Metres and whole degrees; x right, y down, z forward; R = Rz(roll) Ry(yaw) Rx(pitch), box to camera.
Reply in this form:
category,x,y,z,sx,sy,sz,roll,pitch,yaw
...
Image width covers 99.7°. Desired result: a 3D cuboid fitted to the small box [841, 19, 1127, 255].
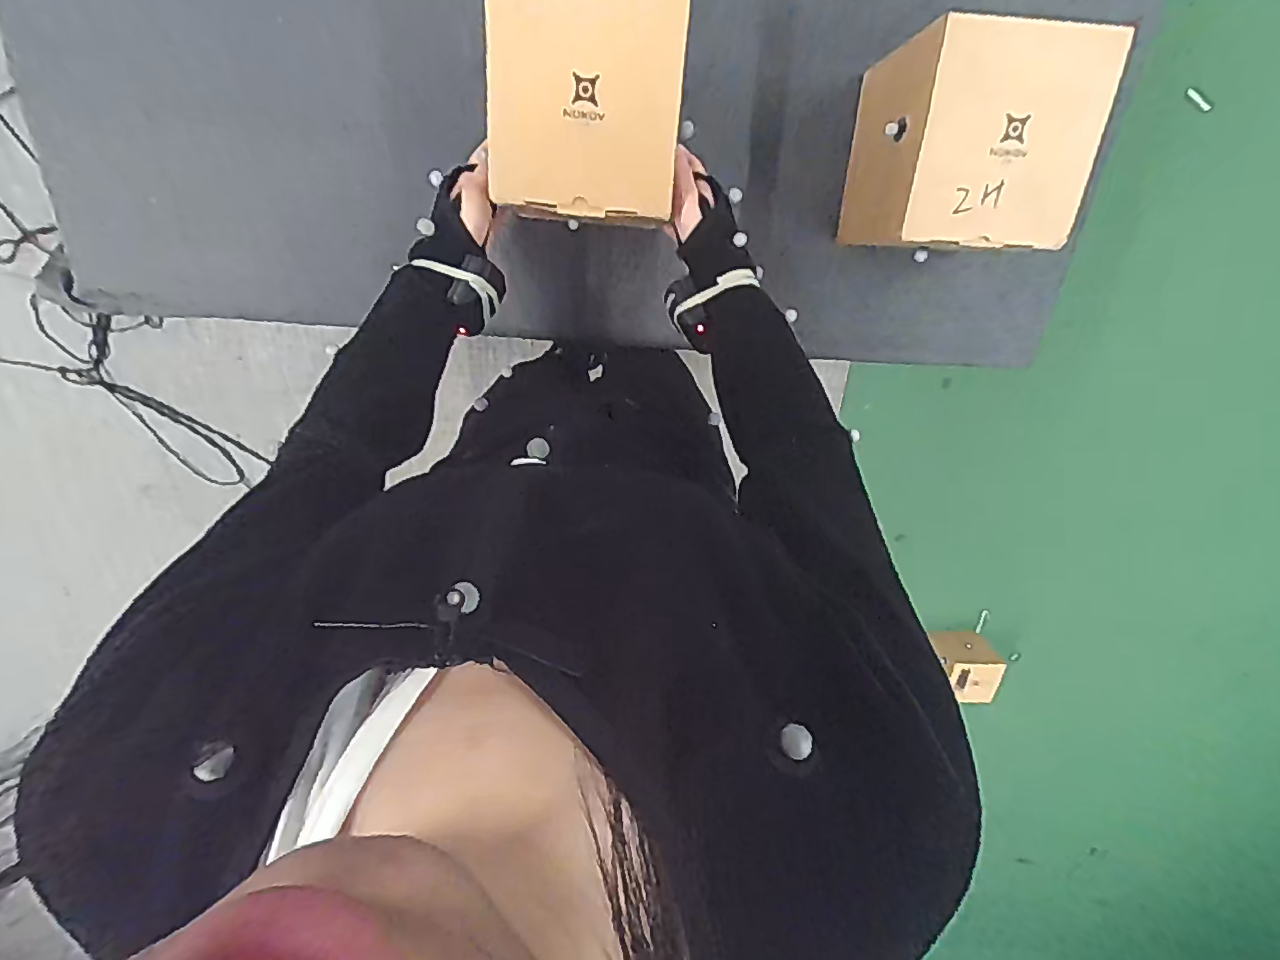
category,x,y,z,sx,sy,sz,roll,pitch,yaw
small box,0.328,-0.333,0.560,0.168,0.176,0.179,2,113,-2
